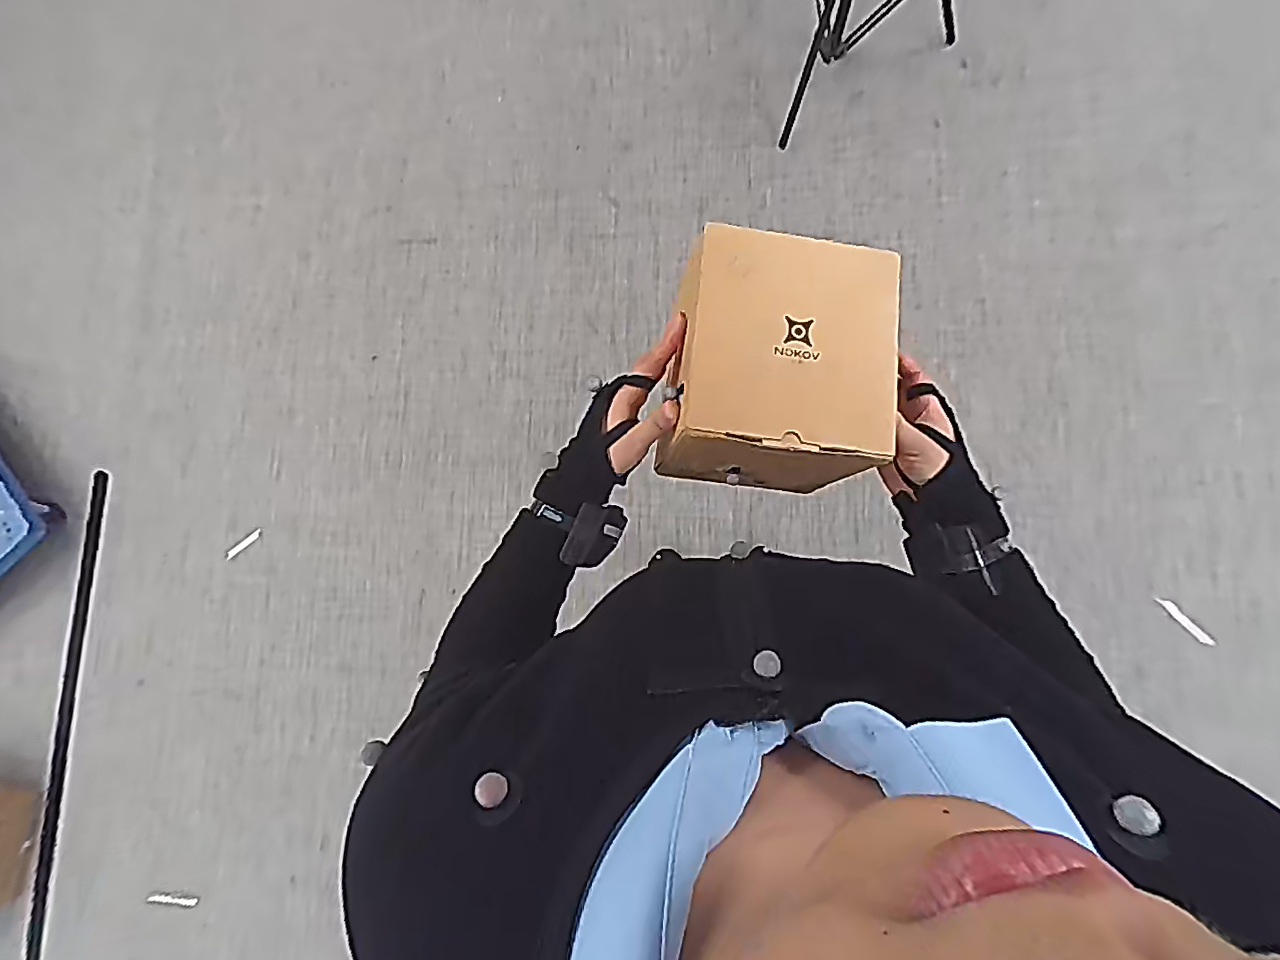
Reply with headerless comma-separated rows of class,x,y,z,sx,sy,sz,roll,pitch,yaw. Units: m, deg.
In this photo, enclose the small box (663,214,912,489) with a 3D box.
small box,0.118,-0.098,0.488,0.168,0.176,0.179,7,80,-5
